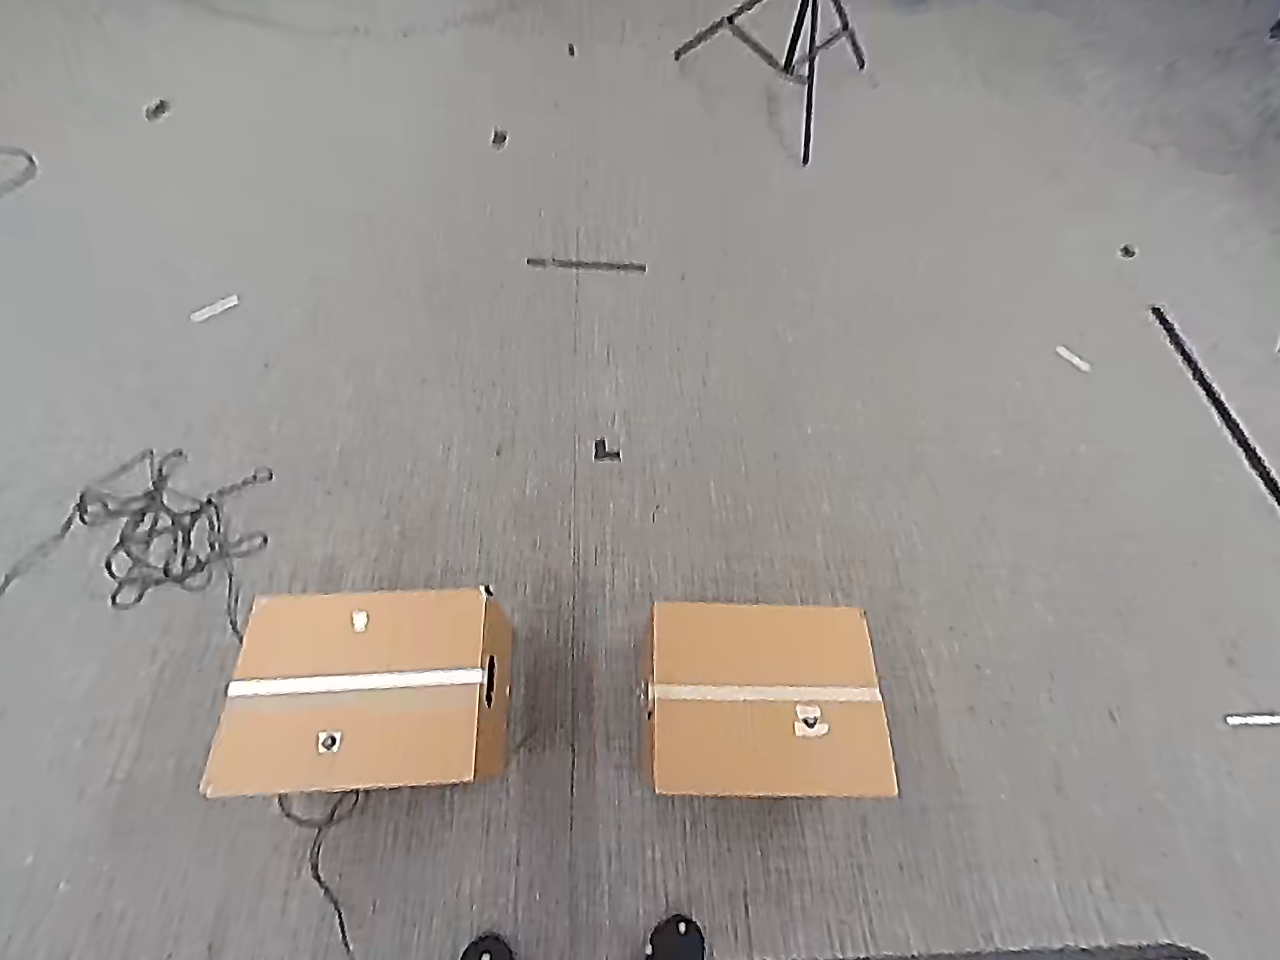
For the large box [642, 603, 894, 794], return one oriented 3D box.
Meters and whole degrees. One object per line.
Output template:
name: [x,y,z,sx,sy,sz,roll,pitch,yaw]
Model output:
large box: [0.215,0.445,1.088,0.408,0.320,0.320,3,62,-4]
